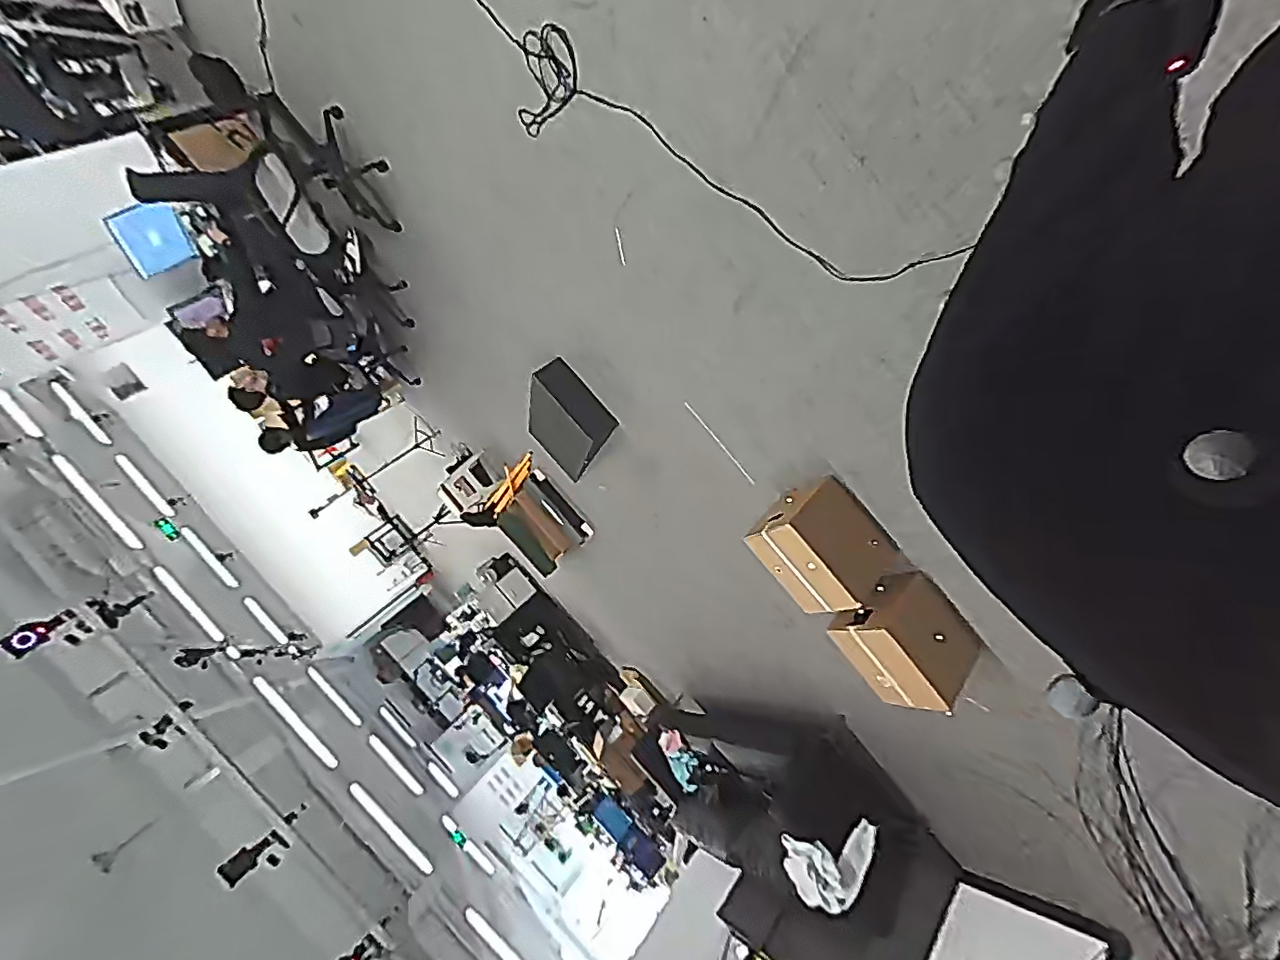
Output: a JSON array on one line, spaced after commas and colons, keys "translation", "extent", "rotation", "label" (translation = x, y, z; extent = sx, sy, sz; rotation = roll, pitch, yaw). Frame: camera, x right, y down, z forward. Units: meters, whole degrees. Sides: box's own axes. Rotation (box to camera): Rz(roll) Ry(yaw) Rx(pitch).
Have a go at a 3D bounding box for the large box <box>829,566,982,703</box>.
[{"translation": [1.042, 0.602, 2.130], "extent": [0.408, 0.320, 0.320], "rotation": [49, 153, -4], "label": "large box"}]
